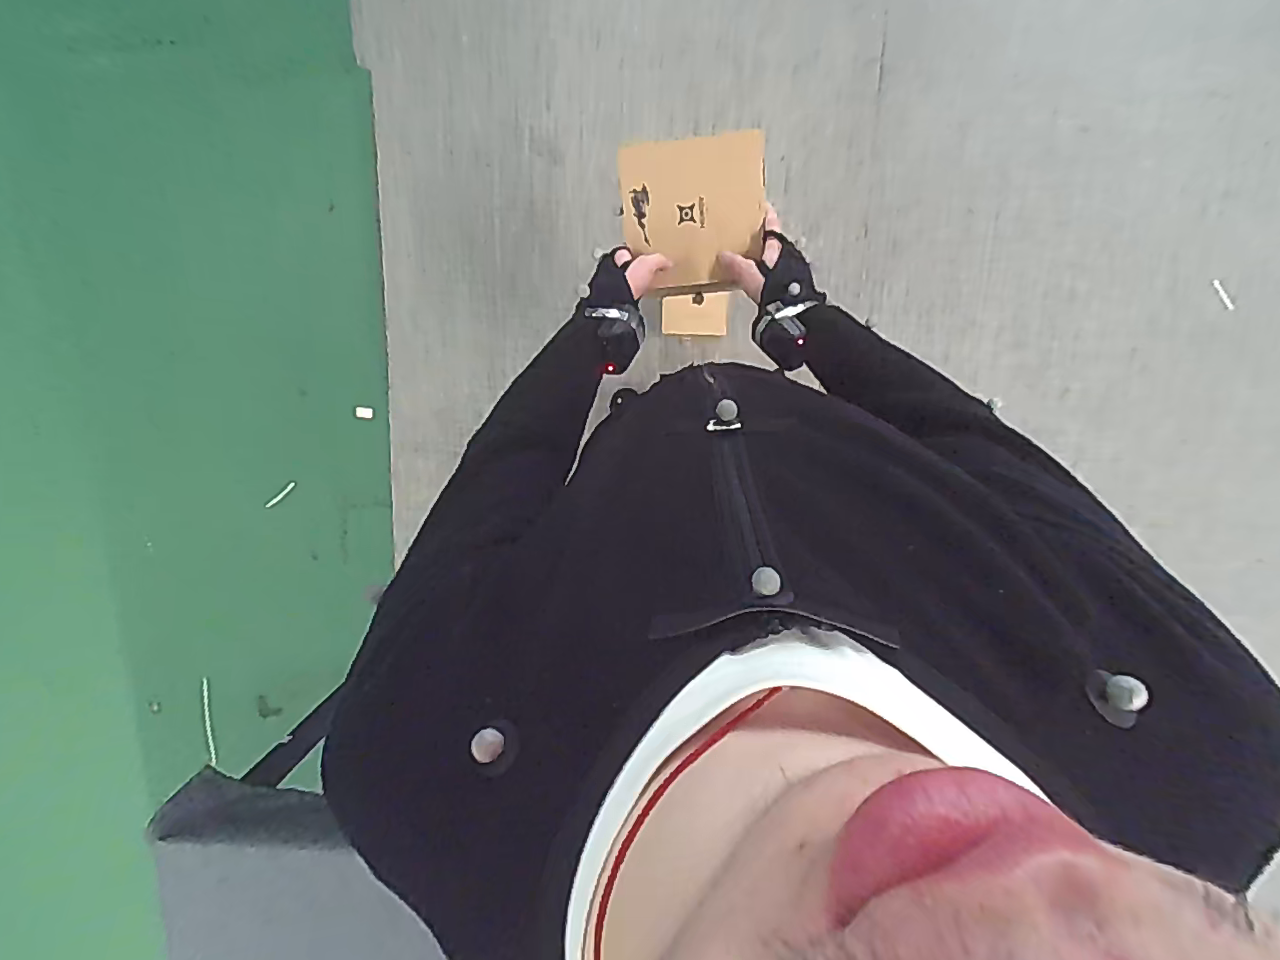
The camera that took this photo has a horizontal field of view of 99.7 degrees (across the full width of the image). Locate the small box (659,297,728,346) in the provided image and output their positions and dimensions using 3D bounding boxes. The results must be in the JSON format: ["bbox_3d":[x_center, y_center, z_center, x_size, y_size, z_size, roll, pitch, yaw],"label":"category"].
[{"bbox_3d":[0.139,-0.452,1.407,0.168,0.176,0.179,4,99,3],"label":"small box"}]

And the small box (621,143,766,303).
[{"bbox_3d":[0.074,-0.340,0.746,0.179,0.176,0.168,-3,104,6],"label":"small box"}]
